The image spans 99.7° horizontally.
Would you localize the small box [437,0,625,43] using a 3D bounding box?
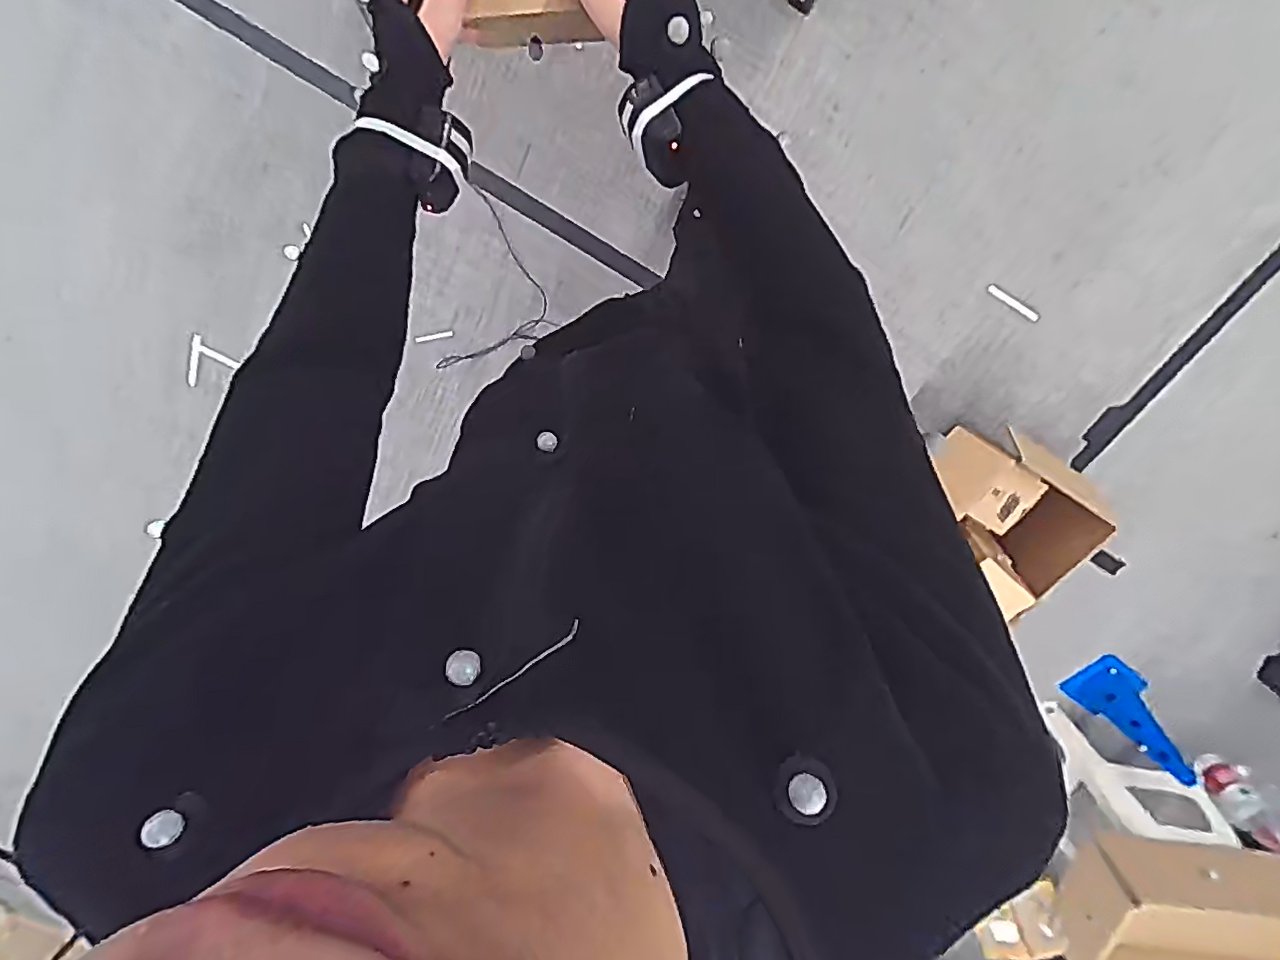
[{"bbox_3d":[-0.101,-0.524,0.487,0.168,0.176,0.179,-3,121,1],"label":"small box"}]
